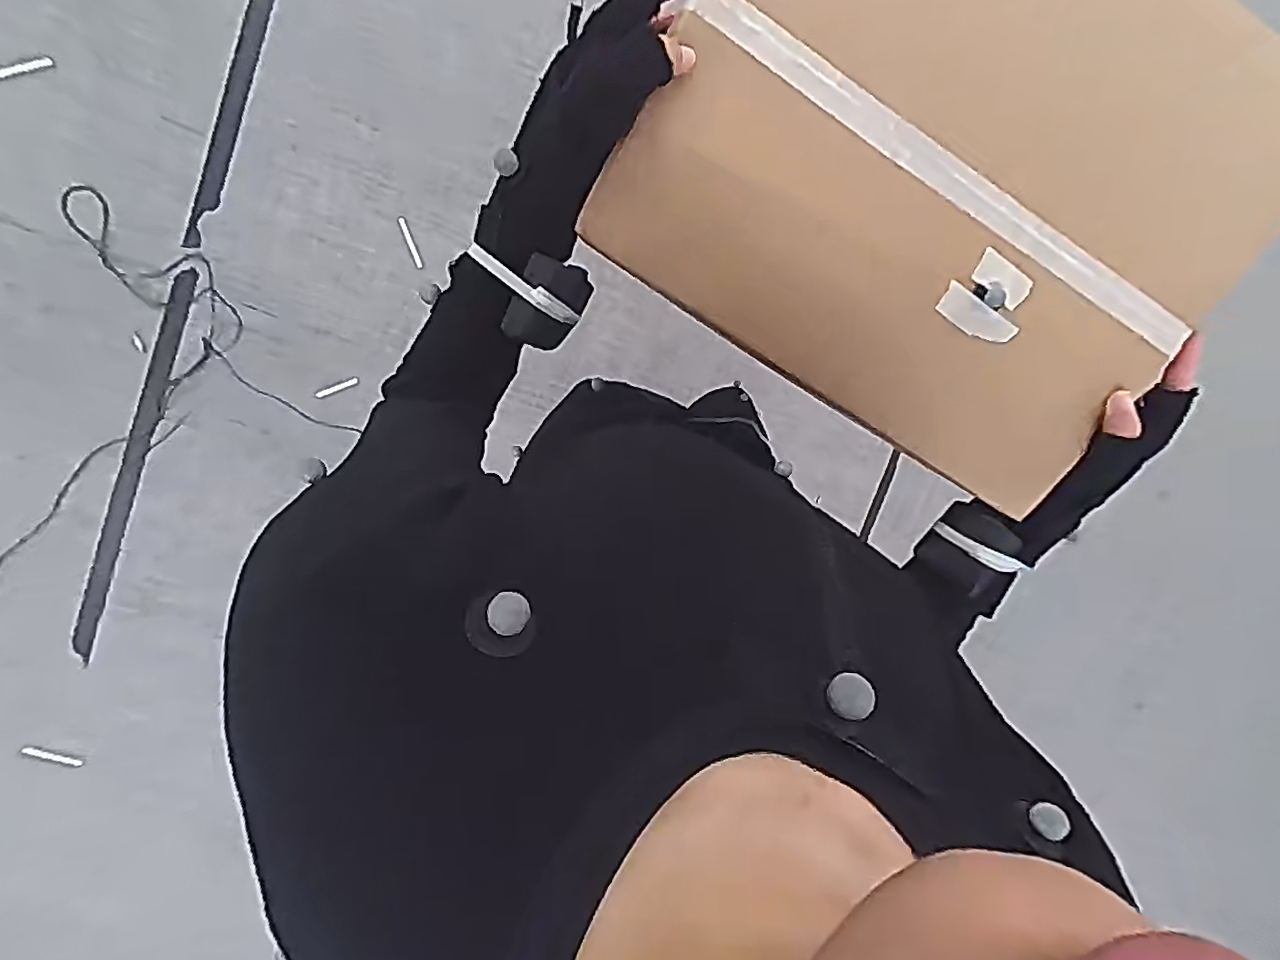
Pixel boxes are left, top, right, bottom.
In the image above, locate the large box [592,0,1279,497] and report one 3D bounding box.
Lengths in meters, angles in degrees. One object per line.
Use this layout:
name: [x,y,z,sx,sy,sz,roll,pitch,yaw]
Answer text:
large box: [0.211,-0.251,0.511,0.408,0.320,0.320,31,108,-8]
